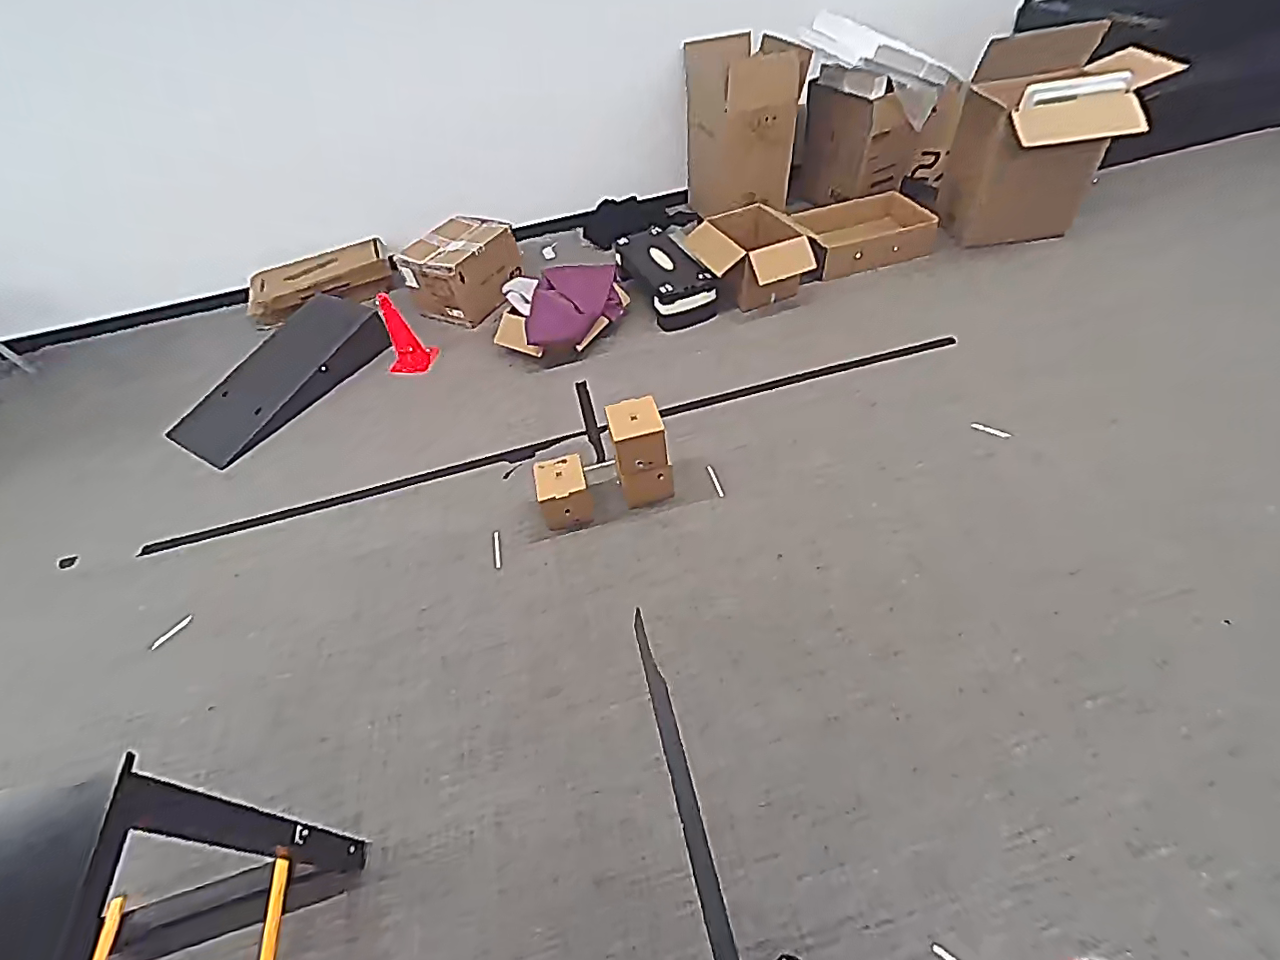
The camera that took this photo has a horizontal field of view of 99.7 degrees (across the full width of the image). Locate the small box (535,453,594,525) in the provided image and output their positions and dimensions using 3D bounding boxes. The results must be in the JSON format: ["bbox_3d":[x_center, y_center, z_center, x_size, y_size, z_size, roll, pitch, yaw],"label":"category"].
[{"bbox_3d":[-0.261,0.038,1.885,0.168,0.176,0.179,-13,49,-3],"label":"small box"}]

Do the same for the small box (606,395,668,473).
[{"bbox_3d":[-0.008,-0.150,1.797,0.168,0.176,0.179,-14,50,-4],"label":"small box"}]

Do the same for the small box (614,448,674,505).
[{"bbox_3d":[0.016,-0.037,1.911,0.179,0.176,0.168,-15,49,-6],"label":"small box"}]
